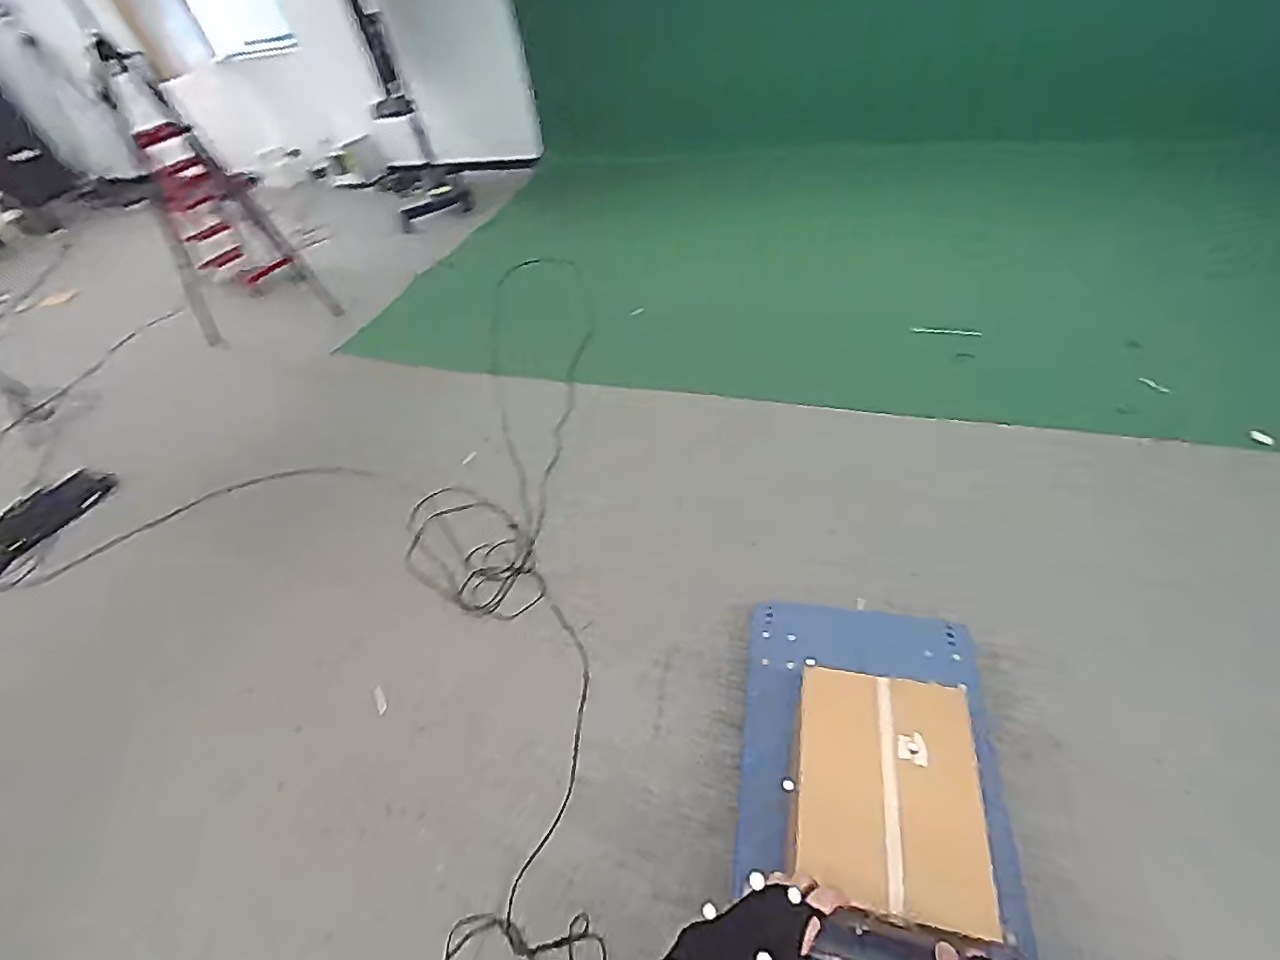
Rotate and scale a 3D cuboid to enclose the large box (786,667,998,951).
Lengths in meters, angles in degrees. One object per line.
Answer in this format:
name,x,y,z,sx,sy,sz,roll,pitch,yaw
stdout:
large box,0.467,0.657,1.100,0.320,0.320,0.408,5,48,14
